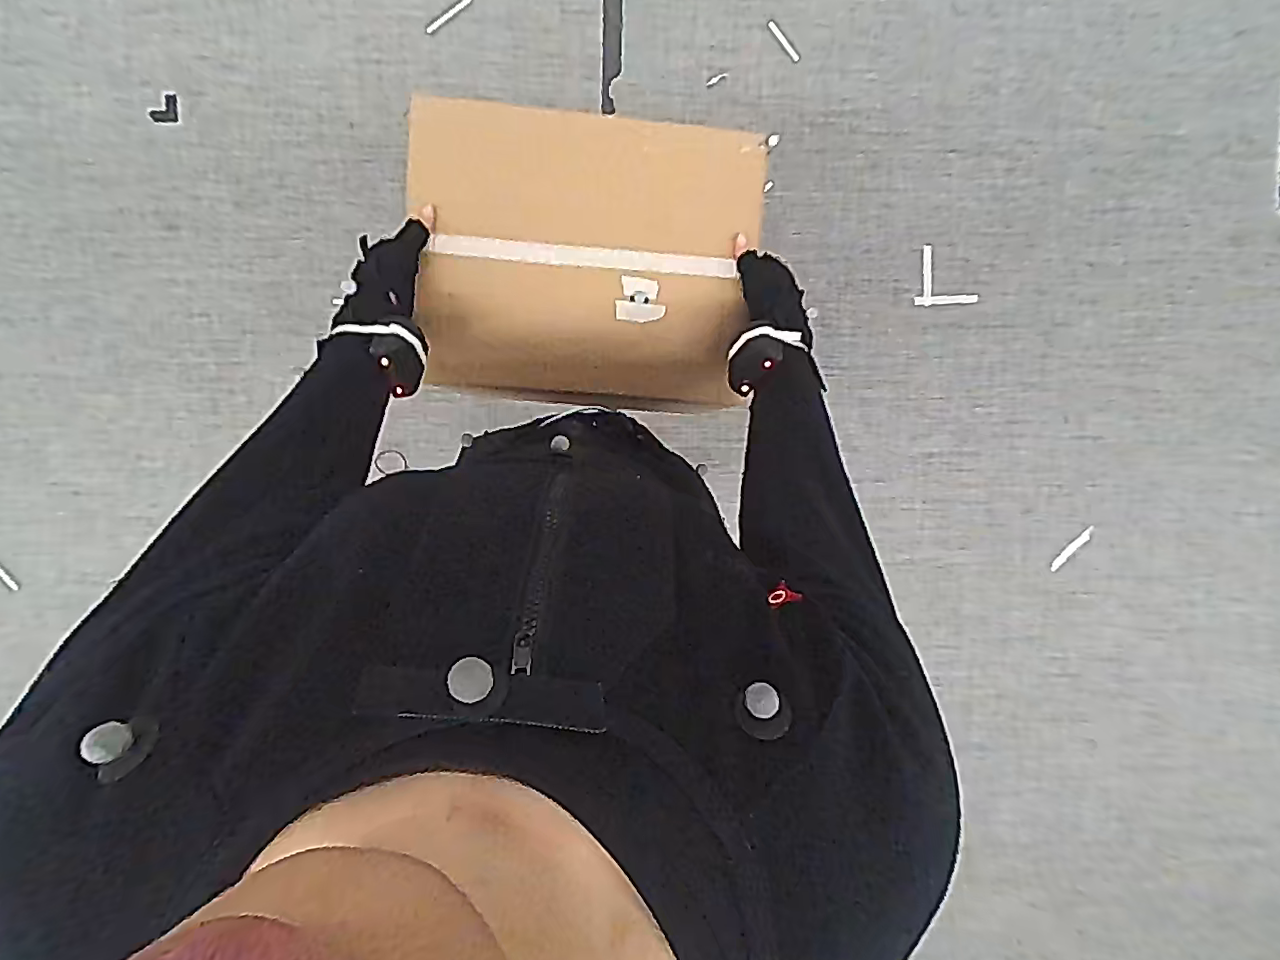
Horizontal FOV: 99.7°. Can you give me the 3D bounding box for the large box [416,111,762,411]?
[{"bbox_3d":[-0.074,-0.270,0.787,0.408,0.320,0.320,3,96,-5],"label":"large box"}]
